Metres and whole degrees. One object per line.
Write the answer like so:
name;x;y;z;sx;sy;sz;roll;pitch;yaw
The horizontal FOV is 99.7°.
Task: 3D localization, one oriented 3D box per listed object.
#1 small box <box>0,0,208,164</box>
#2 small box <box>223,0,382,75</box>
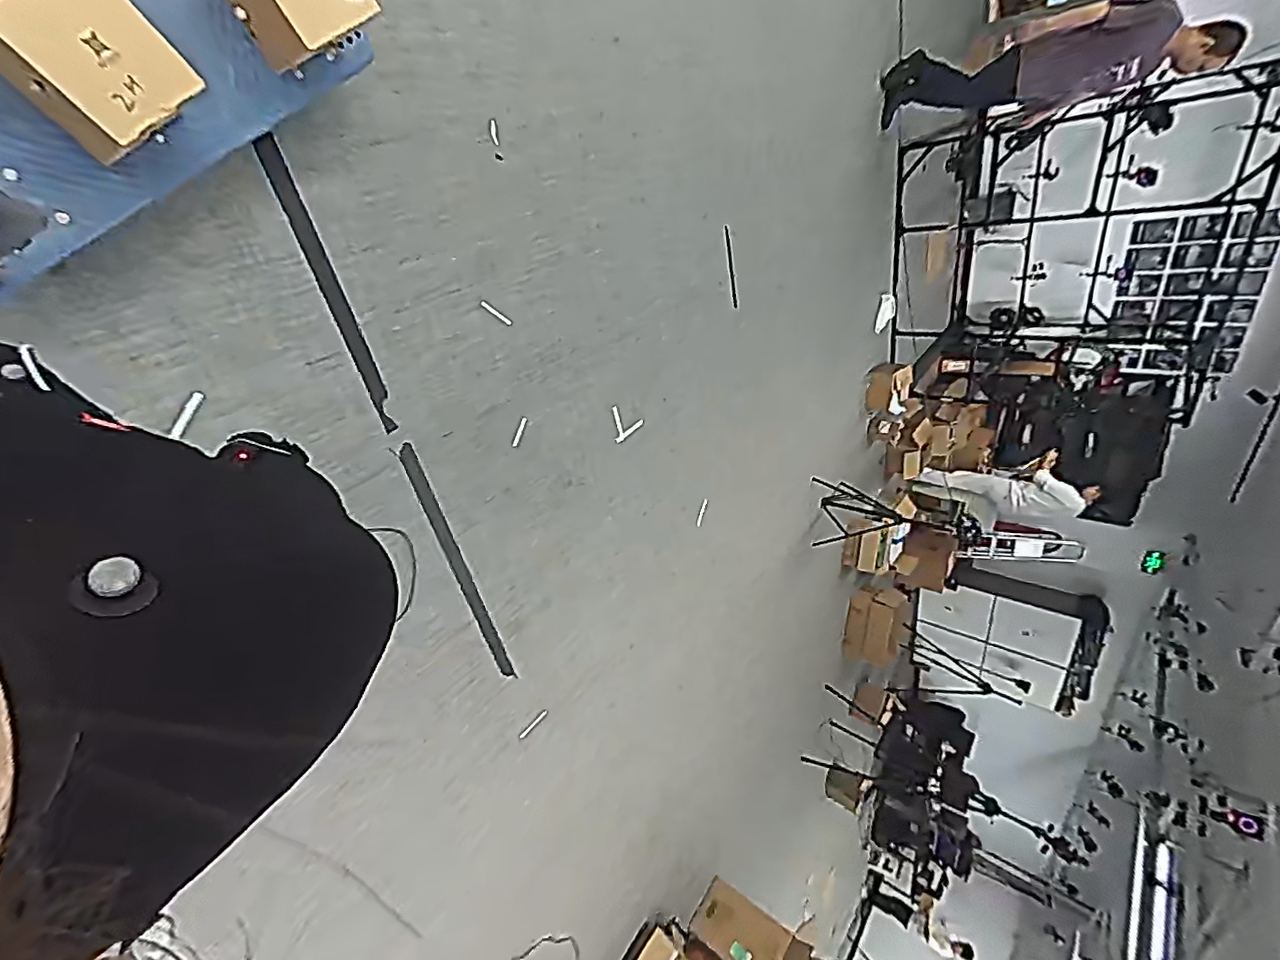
small box;-0.812;-0.611;0.808;0.168;0.176;0.179;-58;138;-20
small box;-0.616;-0.869;0.967;0.179;0.176;0.168;-54;137;-24
